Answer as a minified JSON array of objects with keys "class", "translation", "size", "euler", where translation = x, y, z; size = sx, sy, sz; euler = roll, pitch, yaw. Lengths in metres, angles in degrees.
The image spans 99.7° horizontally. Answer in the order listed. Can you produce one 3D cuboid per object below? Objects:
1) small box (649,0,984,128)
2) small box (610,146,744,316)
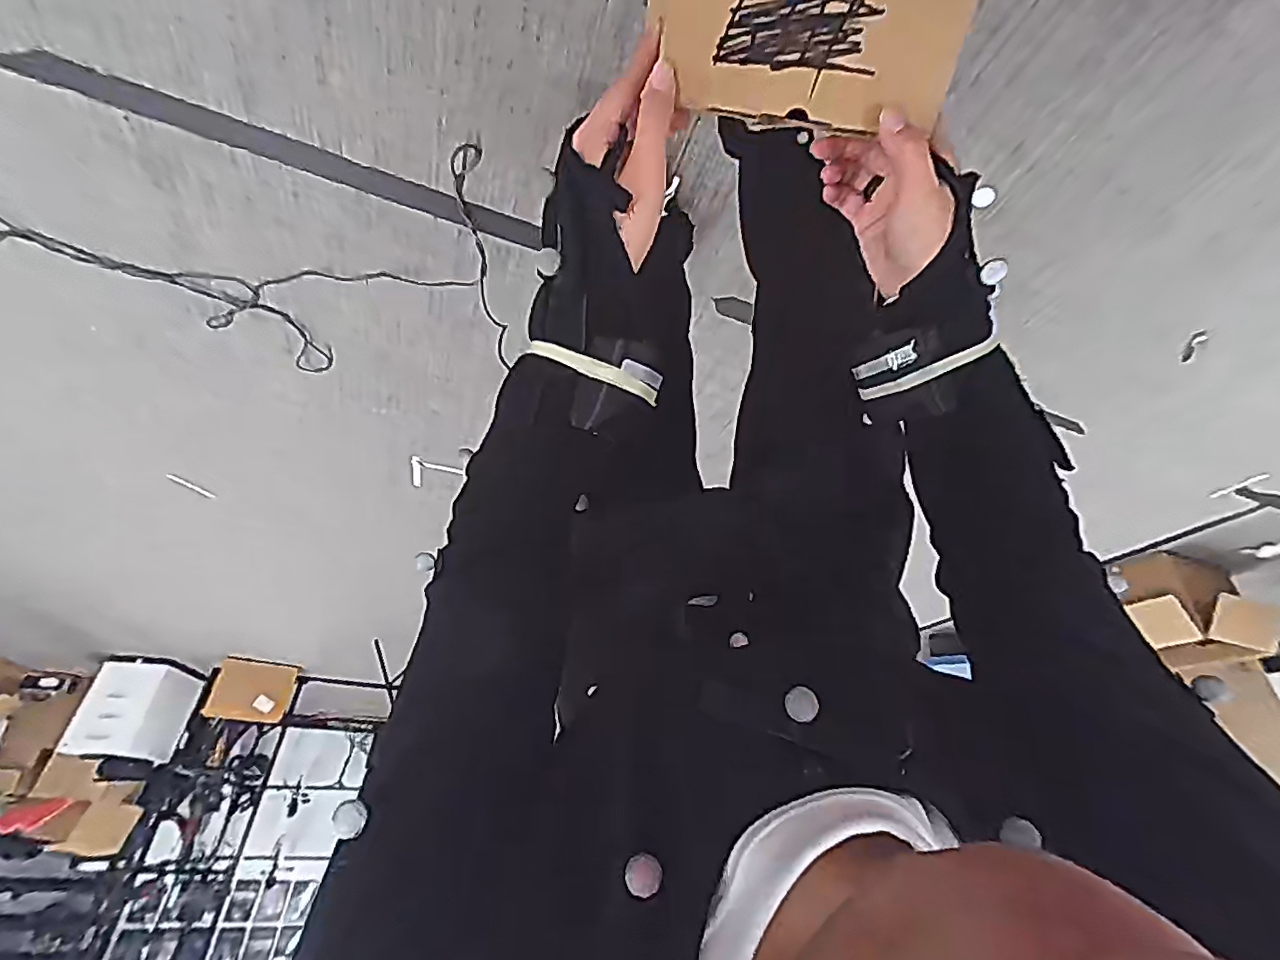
[{"class":"small box","translation":[0.100,-0.329,0.321],"size":[0.168,0.176,0.179],"euler":[4,125,-8]},{"class":"small box","translation":[0.058,-0.386,0.854],"size":[0.179,0.176,0.168],"euler":[-10,142,12]}]
